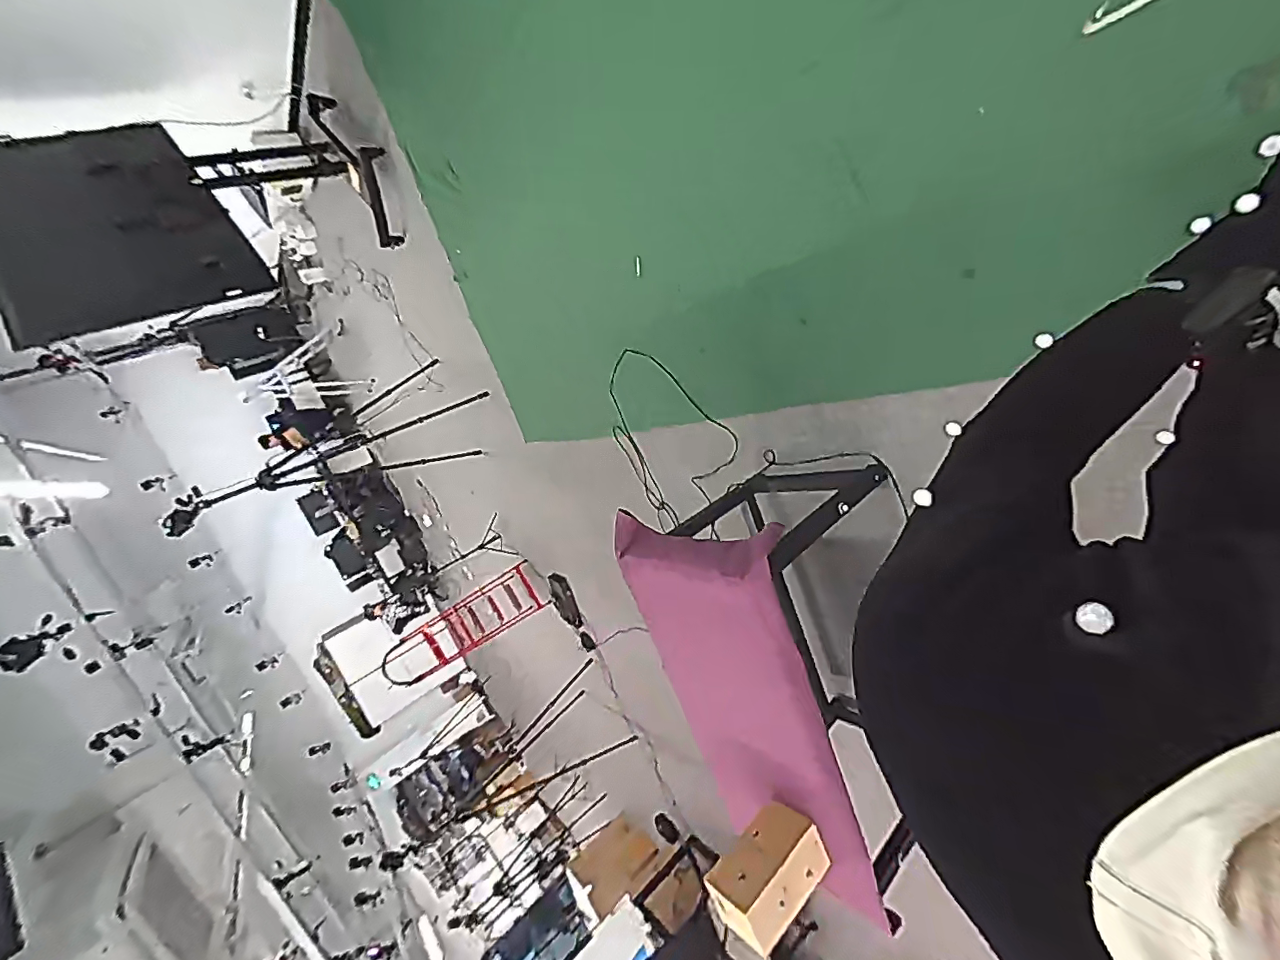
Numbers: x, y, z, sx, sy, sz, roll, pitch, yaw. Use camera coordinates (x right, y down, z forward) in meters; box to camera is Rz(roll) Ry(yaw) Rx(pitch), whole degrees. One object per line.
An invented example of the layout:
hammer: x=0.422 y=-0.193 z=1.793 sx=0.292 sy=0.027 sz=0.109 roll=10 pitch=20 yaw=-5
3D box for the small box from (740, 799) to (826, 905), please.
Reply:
small box: x=0.446 y=1.129 z=1.660 sx=0.179 sy=0.176 sz=0.168 roll=-4 pitch=112 yaw=56

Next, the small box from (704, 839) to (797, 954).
small box: x=0.323 y=1.198 z=1.576 sx=0.179 sy=0.176 sz=0.168 roll=-4 pitch=112 yaw=55
